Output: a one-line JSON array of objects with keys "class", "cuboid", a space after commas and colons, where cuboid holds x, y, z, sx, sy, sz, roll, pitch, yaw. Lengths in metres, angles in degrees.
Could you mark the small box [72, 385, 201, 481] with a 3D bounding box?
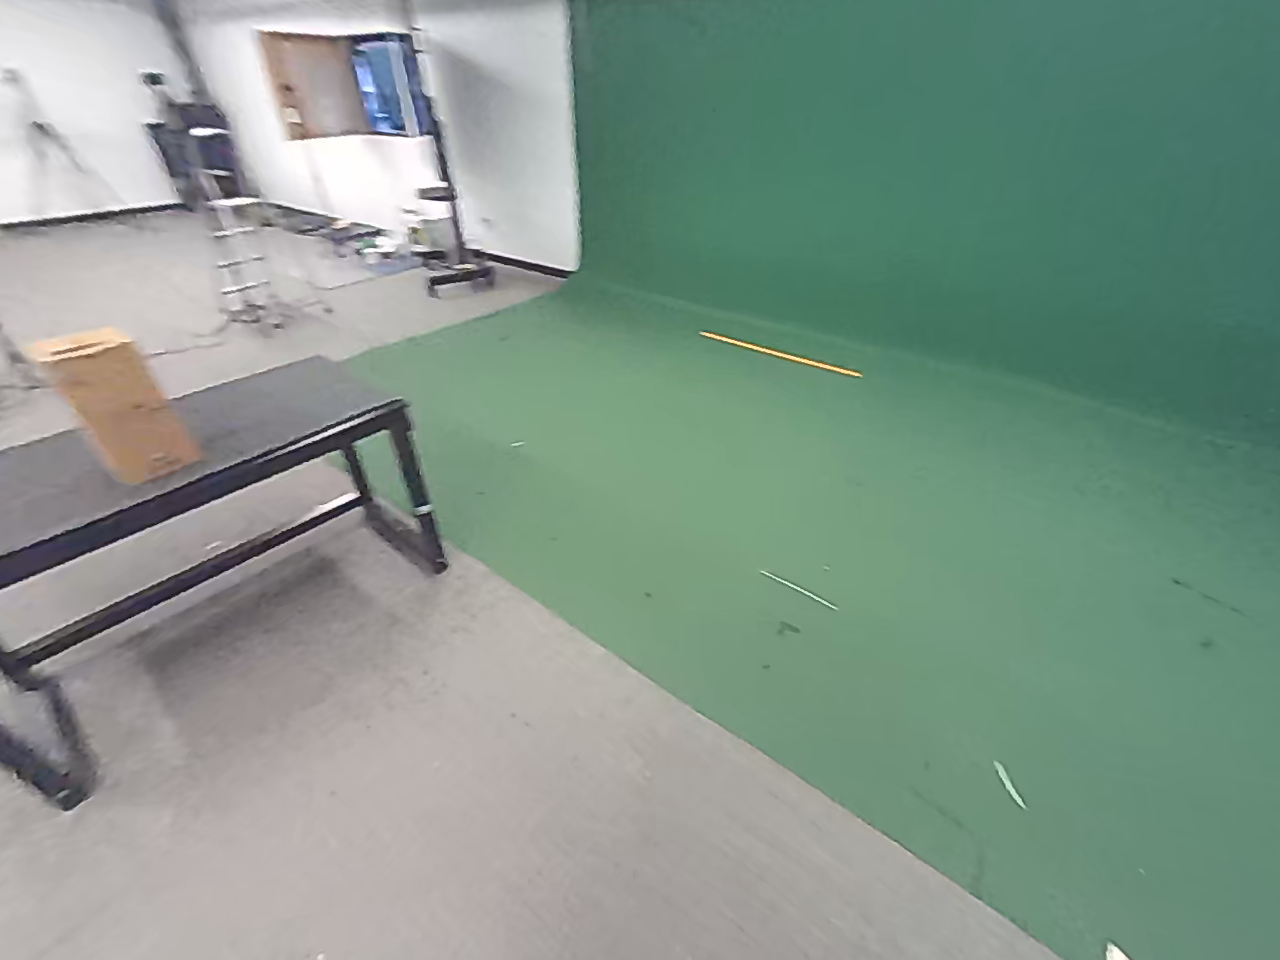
[{"class": "small box", "cuboid": [-1.278, -0.119, 1.381, 0.179, 0.176, 0.168, 23, 42, 29]}]
